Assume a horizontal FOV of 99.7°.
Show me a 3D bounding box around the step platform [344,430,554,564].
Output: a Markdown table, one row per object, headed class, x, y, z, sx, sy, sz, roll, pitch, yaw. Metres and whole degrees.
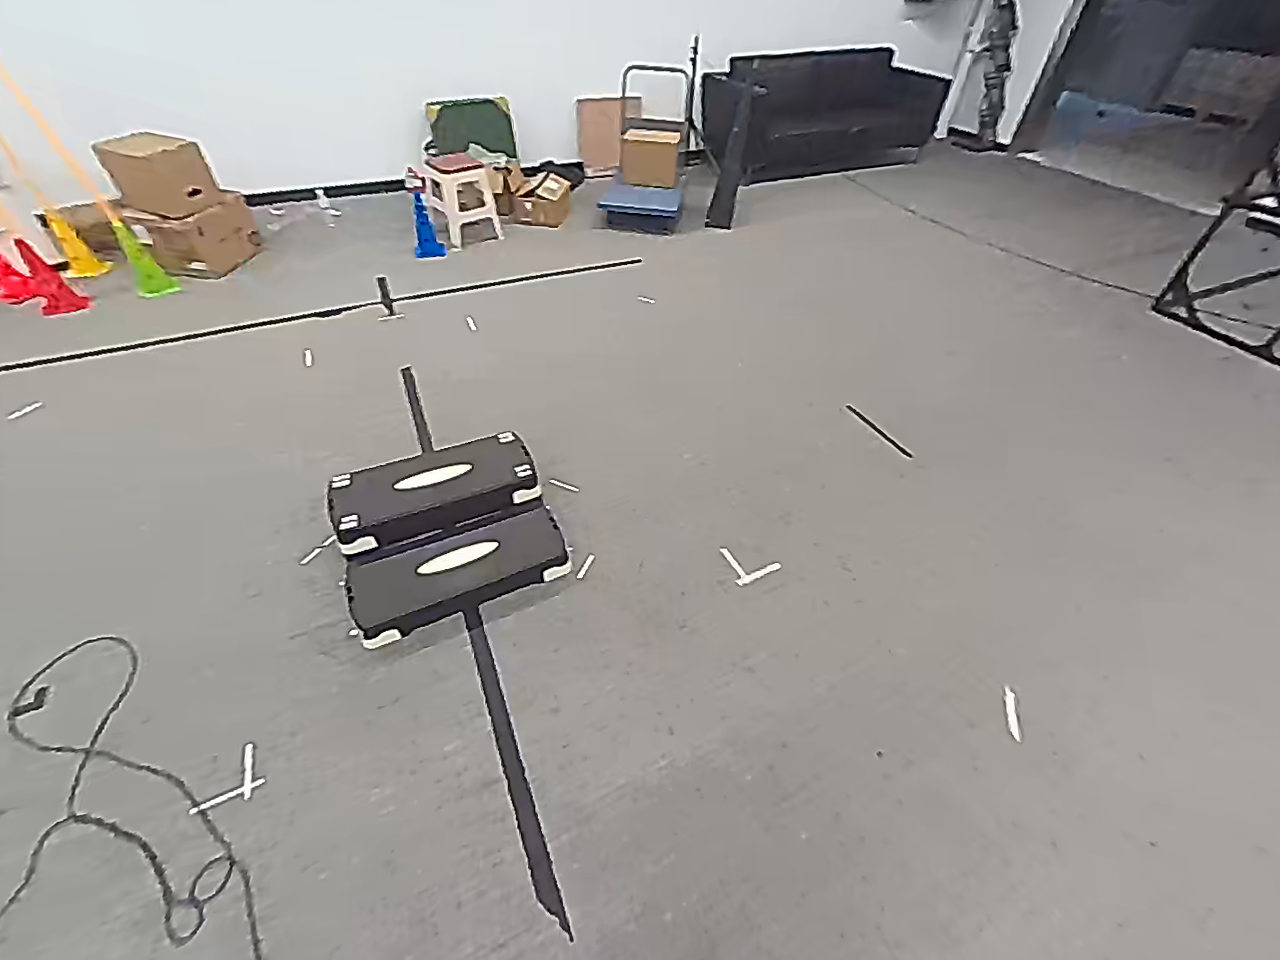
| class | x | y | z | sx | sy | sz | roll | pitch | yaw |
| --- | --- | --- | --- | --- | --- | --- | --- | --- | --- |
| step platform | -0.663 | 0.042 | 1.918 | 0.684 | 0.204 | 0.286 | -17 | 48 | -21 |
